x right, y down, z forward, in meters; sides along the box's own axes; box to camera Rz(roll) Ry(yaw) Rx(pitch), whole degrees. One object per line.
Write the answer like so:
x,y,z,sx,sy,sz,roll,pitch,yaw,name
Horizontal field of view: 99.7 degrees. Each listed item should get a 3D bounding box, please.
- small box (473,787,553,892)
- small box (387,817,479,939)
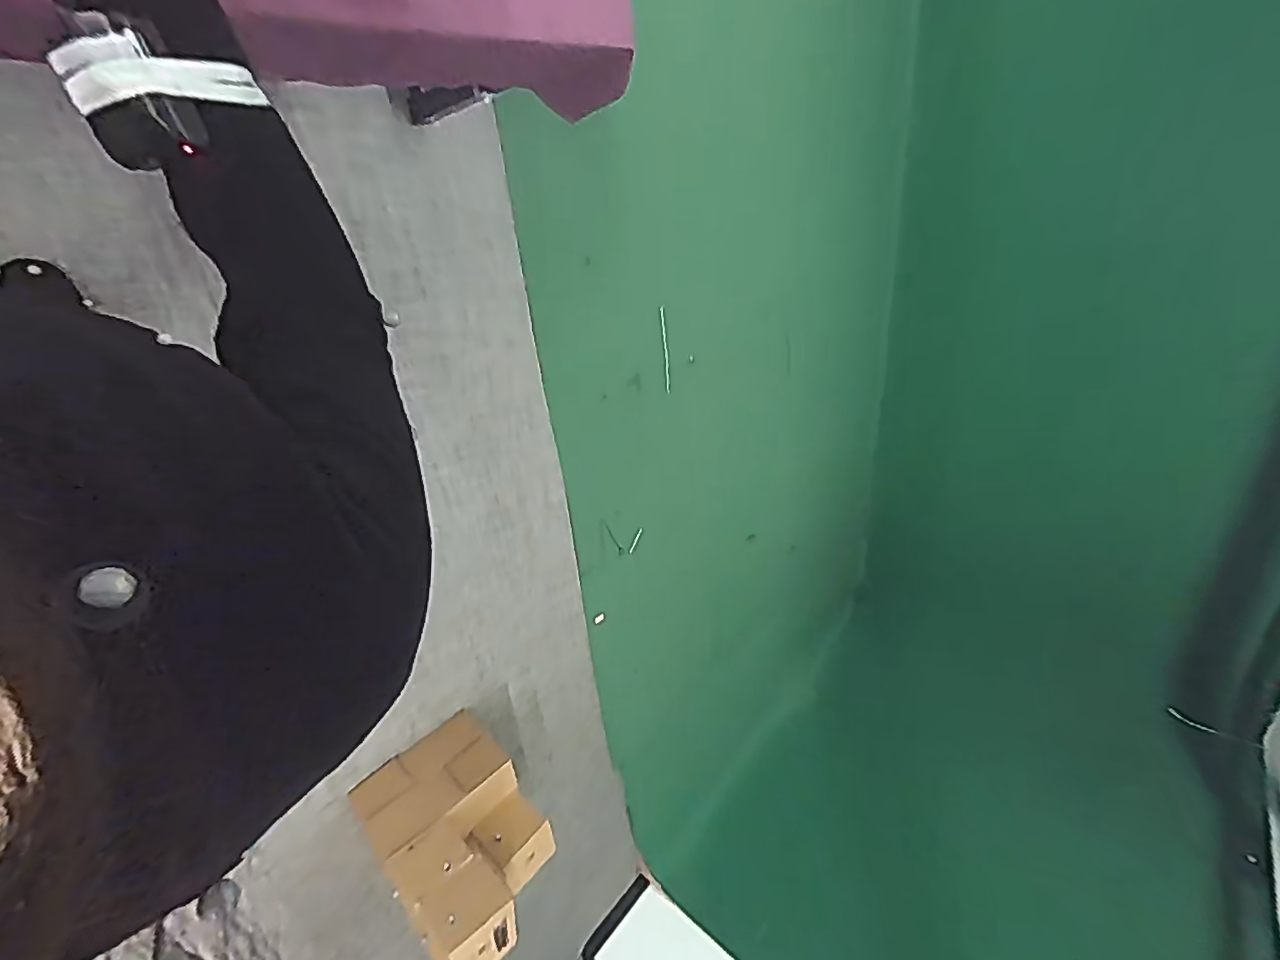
-0.404,1.124,1.702,0.179,0.176,0.168,-31,127,-40,small box
-0.570,1.085,1.491,0.168,0.176,0.179,-25,122,-41,small box
